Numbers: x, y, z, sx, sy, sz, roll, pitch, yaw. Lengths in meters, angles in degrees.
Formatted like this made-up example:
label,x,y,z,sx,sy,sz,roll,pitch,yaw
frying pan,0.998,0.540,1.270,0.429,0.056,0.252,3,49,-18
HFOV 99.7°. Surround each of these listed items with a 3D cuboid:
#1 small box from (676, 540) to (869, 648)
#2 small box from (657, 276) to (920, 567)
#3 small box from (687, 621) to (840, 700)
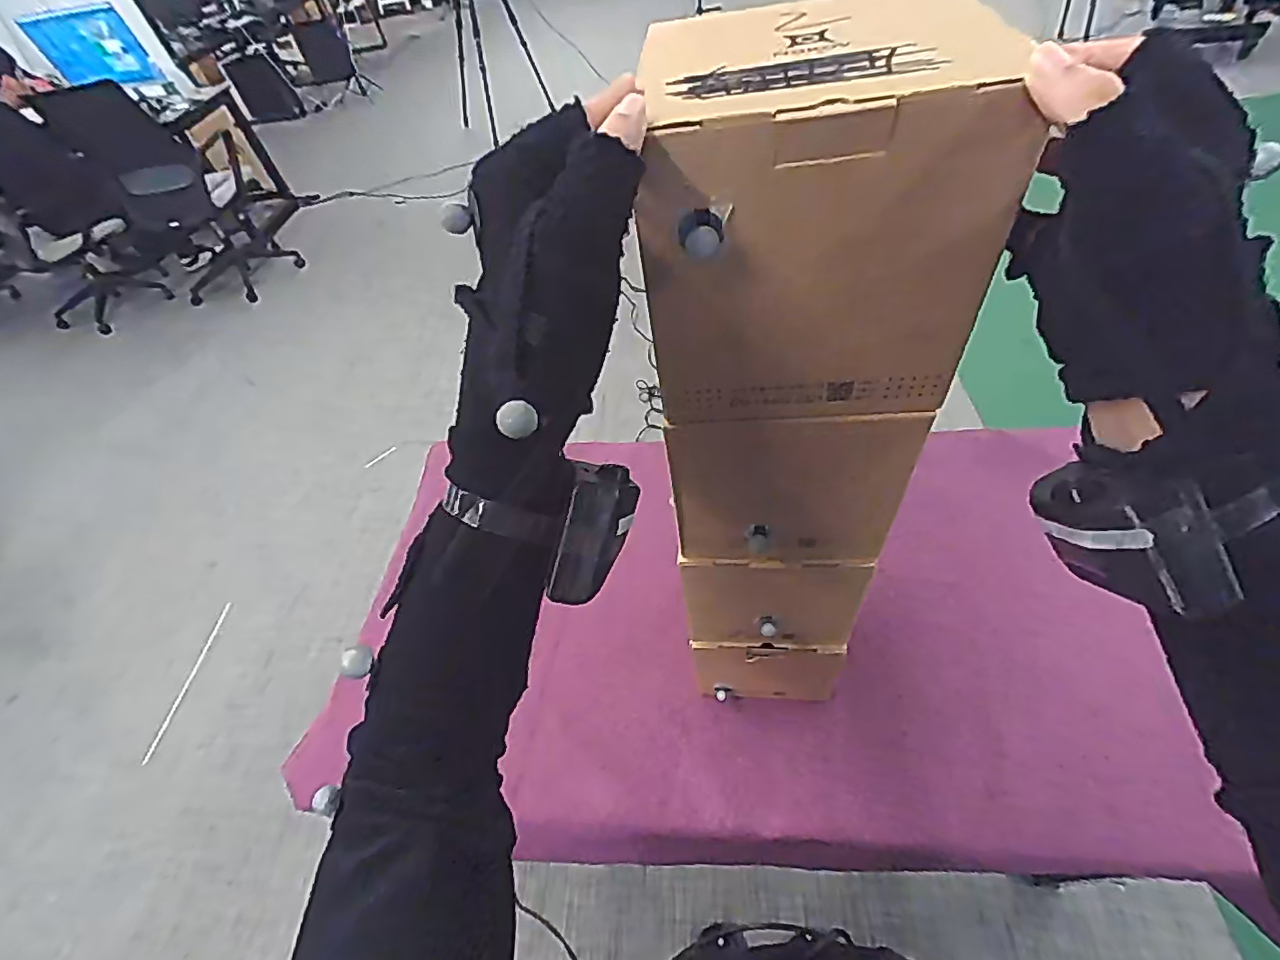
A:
label,x,y,z,sx,sy,sz,roll,pitch,yaw
small box,0.130,0.060,0.576,0.168,0.176,0.179,-1,51,10
small box,0.109,-0.046,0.455,0.168,0.176,0.179,-1,51,9
small box,0.153,0.170,0.696,0.168,0.176,0.179,-1,50,9
